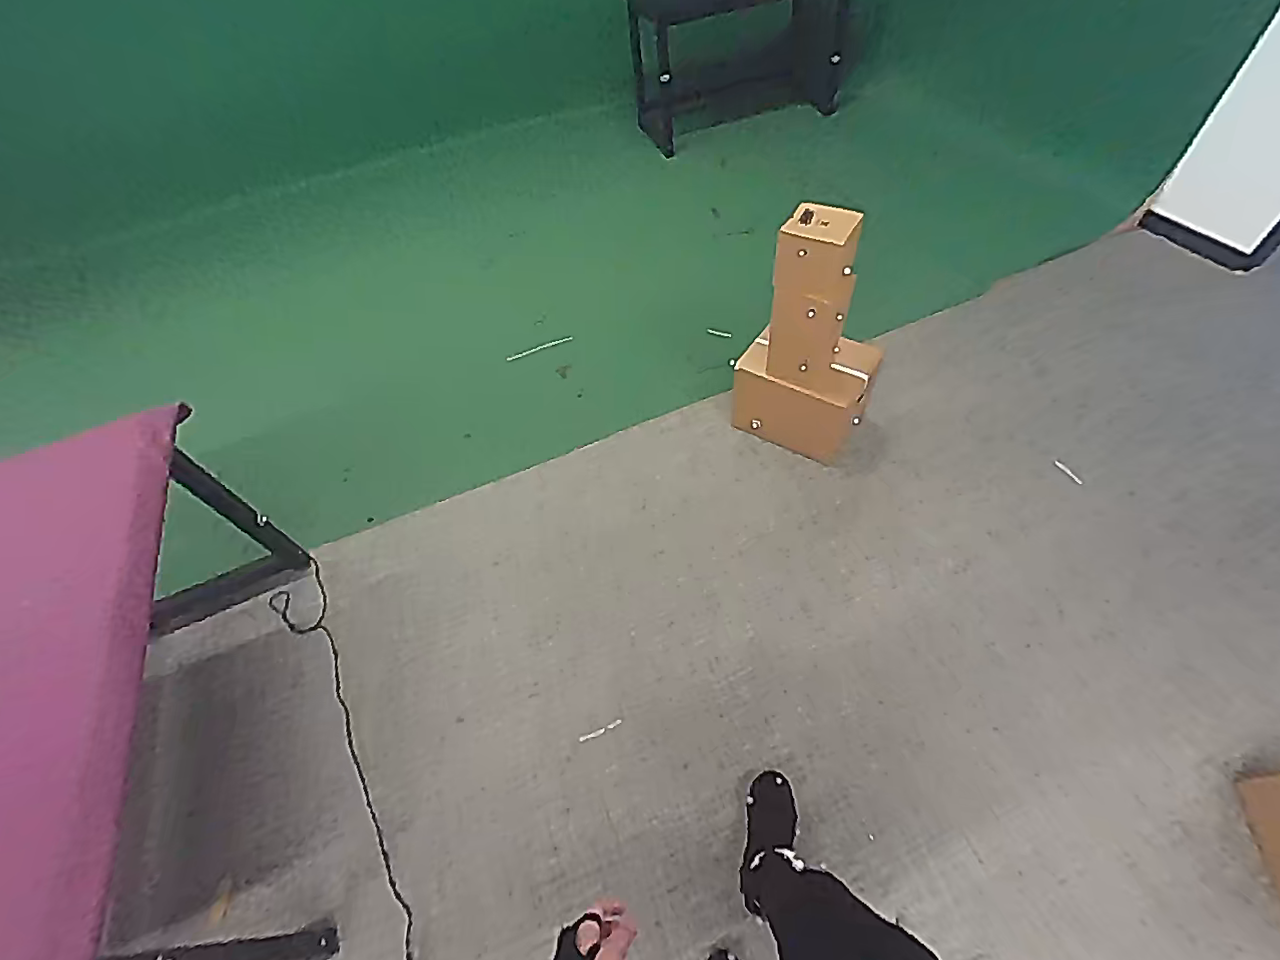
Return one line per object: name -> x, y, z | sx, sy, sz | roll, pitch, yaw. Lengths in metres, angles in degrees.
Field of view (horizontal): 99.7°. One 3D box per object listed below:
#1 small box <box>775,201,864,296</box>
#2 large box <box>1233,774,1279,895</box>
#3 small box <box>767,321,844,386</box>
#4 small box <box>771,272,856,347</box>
small box -> 0.487, -0.634, 1.489 | 0.179, 0.176, 0.168 | 25, 60, 22
large box -> 1.513, 0.803, 1.032 | 0.320, 0.320, 0.408 | 4, 54, 9
small box -> 0.527, -0.428, 1.743 | 0.179, 0.176, 0.168 | 27, 62, 25
small box -> 0.510, -0.525, 1.610 | 0.179, 0.176, 0.168 | 30, 62, 25
